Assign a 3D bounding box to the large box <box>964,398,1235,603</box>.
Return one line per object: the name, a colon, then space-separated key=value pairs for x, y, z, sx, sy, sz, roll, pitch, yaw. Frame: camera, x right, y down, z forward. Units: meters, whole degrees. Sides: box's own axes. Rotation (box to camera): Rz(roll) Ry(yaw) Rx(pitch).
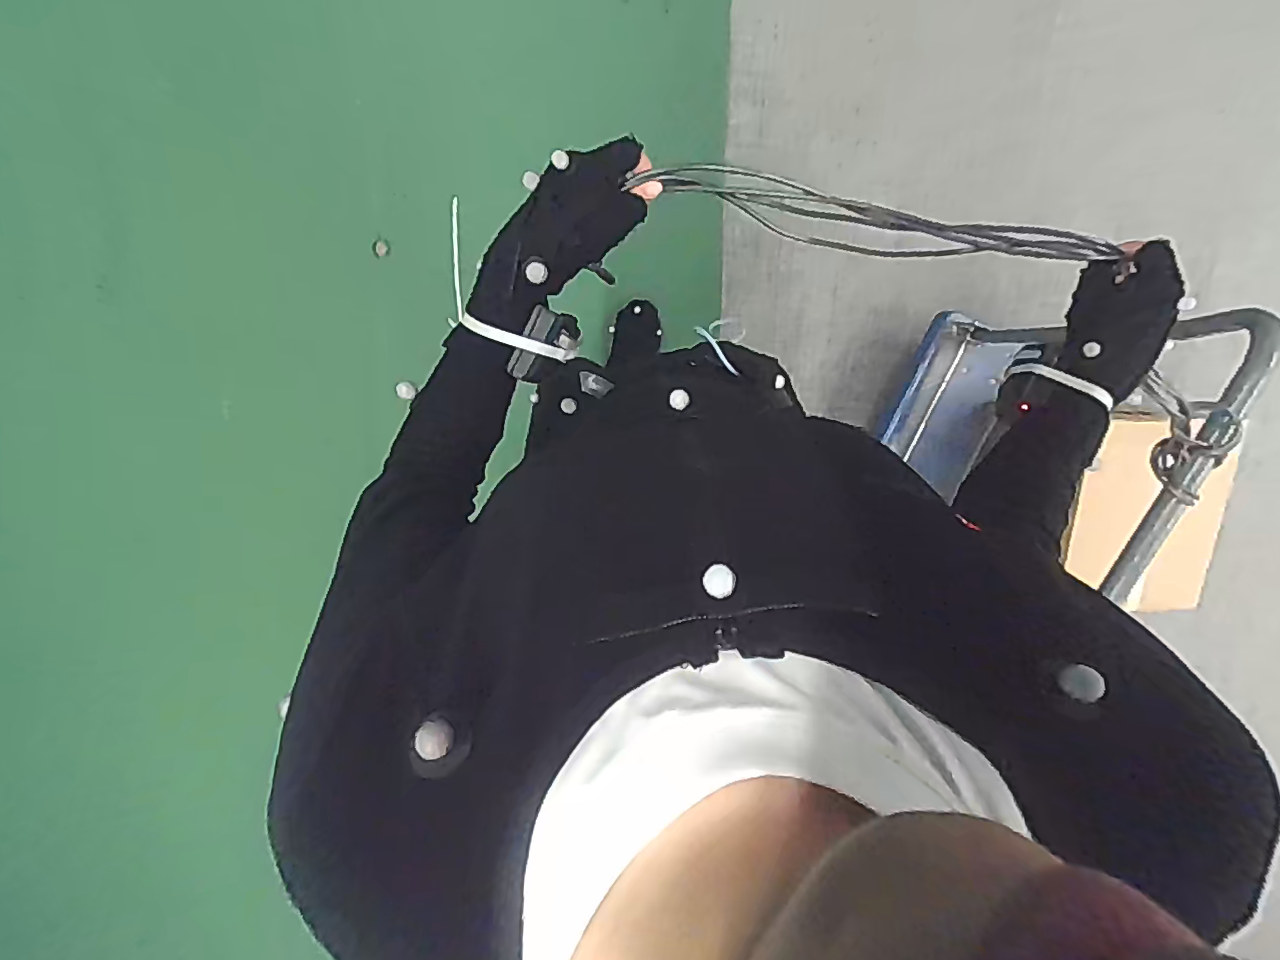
large box: x=0.998 y=0.028 z=1.231 sx=0.320 sy=0.320 sz=0.408 roll=-1 pitch=104 yaw=-3
